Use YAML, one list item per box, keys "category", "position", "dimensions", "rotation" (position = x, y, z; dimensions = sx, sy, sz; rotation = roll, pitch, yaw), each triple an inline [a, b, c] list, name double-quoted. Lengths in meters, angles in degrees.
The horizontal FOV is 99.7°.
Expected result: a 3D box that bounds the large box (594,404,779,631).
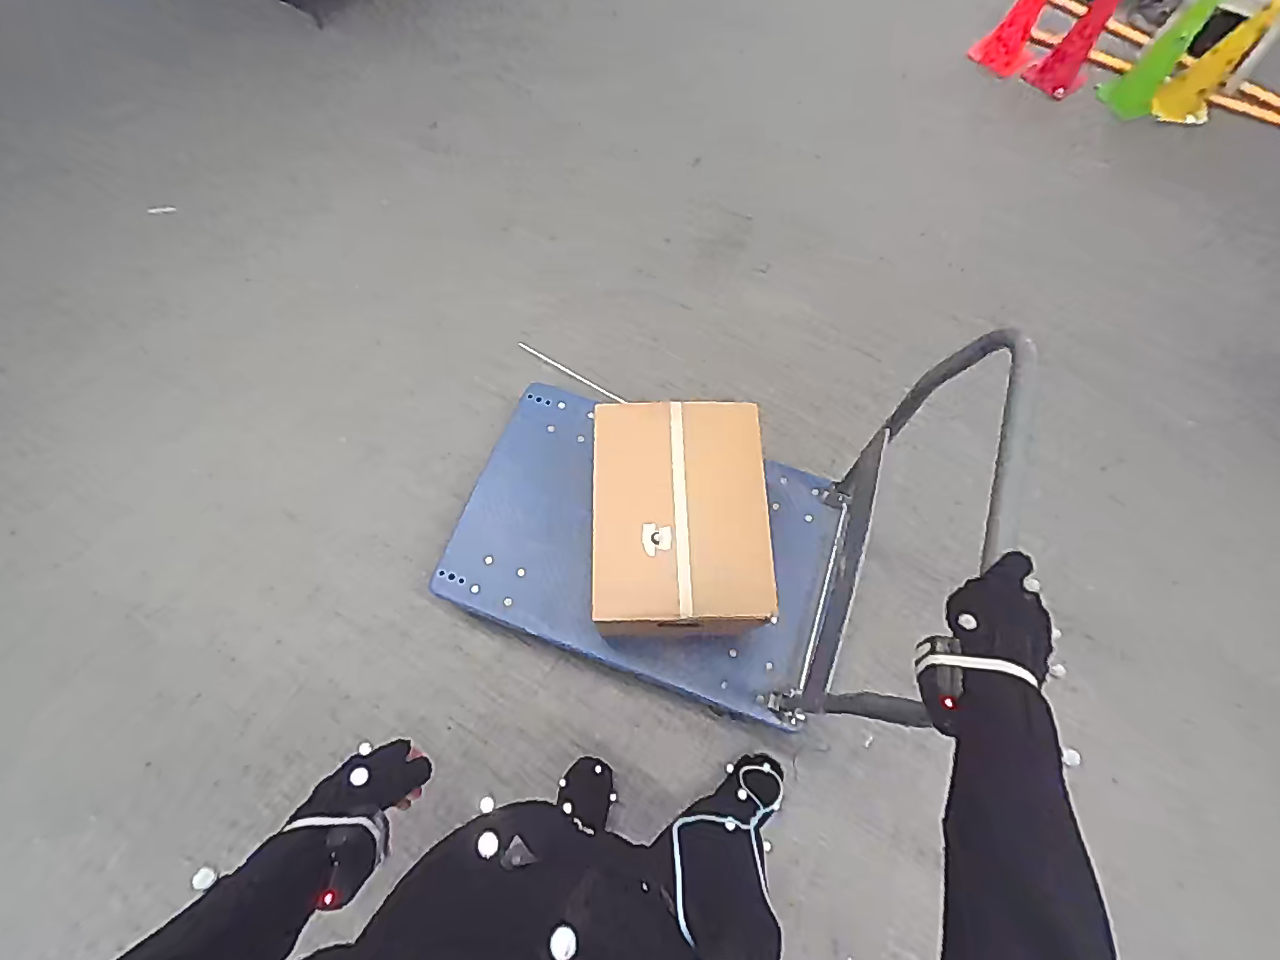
- category: "large box"
  position: [0.069, 0.090, 1.107]
  dimensions: [0.320, 0.320, 0.408]
  rotation: [-1, 70, -1]
